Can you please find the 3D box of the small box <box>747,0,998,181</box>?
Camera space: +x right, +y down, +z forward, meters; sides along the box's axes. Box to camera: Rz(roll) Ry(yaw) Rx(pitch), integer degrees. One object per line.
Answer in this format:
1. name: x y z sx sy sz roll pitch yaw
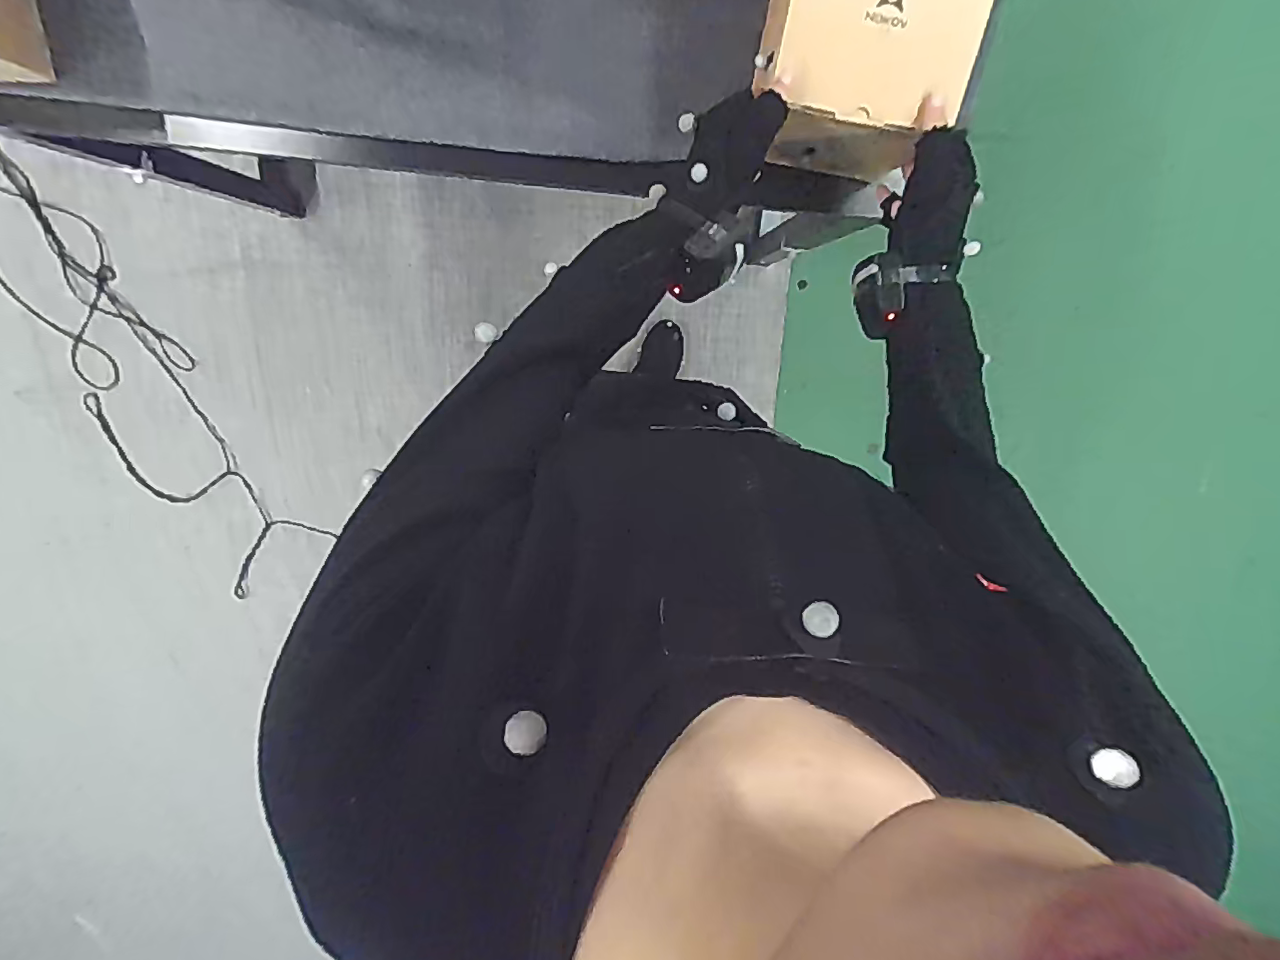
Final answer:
1. small box: 0.210 -0.415 0.521 0.168 0.176 0.179 10 109 -2
